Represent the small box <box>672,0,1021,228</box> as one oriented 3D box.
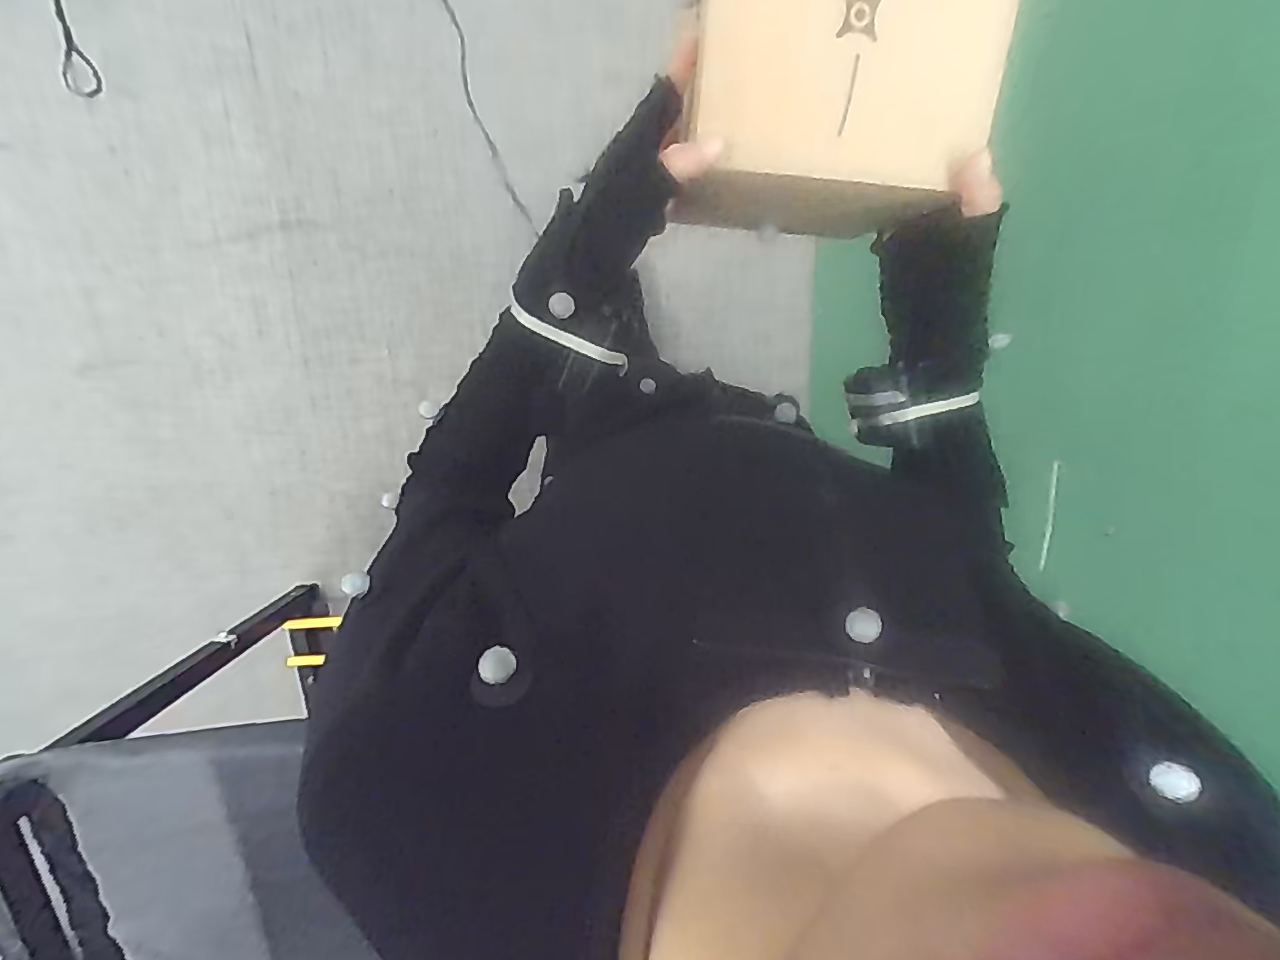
[{"bbox_3d":[0.115,-0.282,0.356,0.168,0.176,0.179,4,105,-3],"label":"small box"}]
